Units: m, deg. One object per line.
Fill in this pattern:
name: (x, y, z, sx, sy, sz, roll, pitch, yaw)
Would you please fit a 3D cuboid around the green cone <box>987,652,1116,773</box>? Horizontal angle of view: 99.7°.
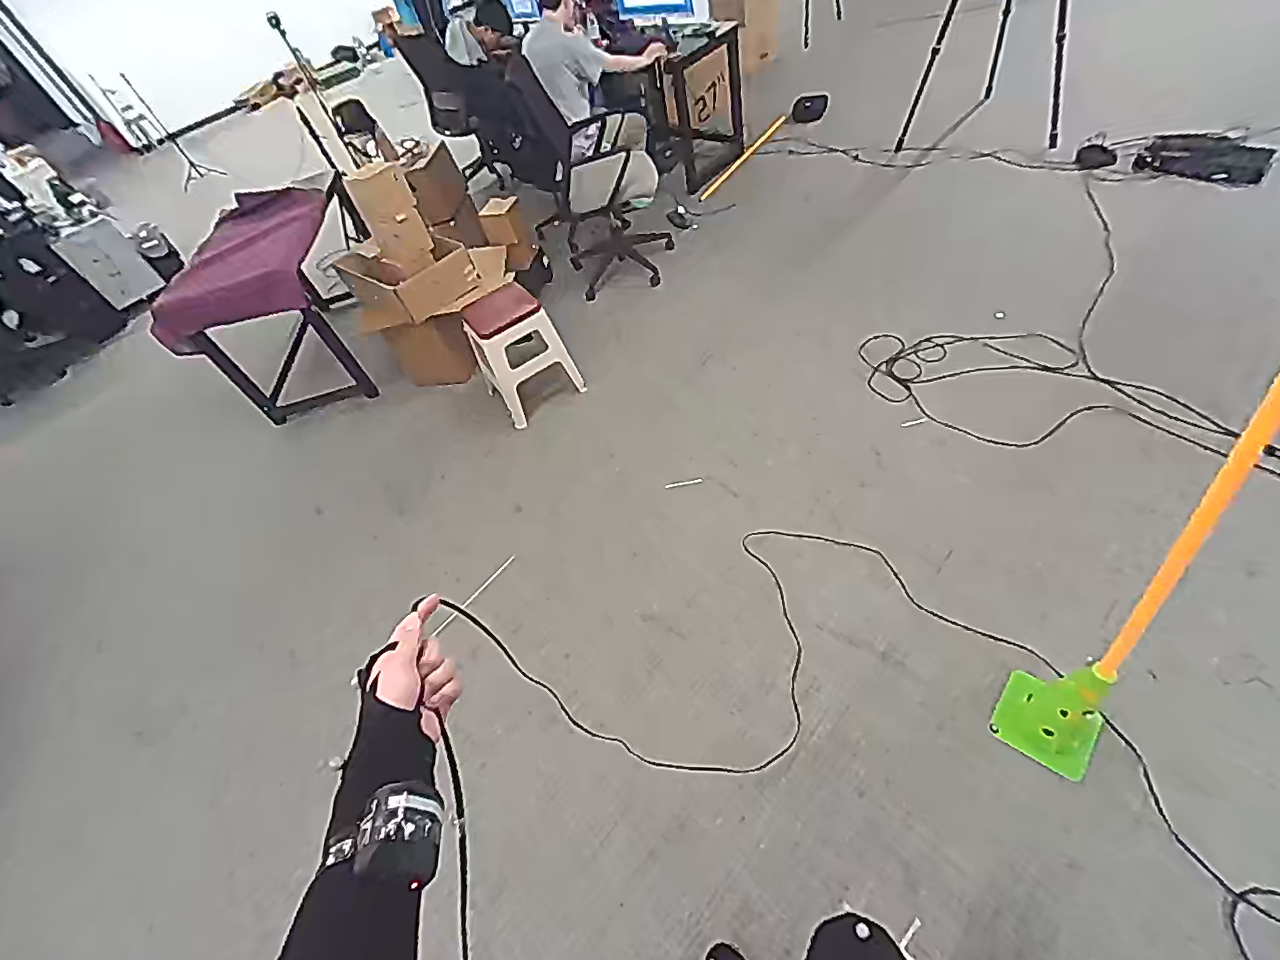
green cone: (0.964, 0.479, 1.211, 0.200, 0.368, 0.202, 28, 62, 32)
